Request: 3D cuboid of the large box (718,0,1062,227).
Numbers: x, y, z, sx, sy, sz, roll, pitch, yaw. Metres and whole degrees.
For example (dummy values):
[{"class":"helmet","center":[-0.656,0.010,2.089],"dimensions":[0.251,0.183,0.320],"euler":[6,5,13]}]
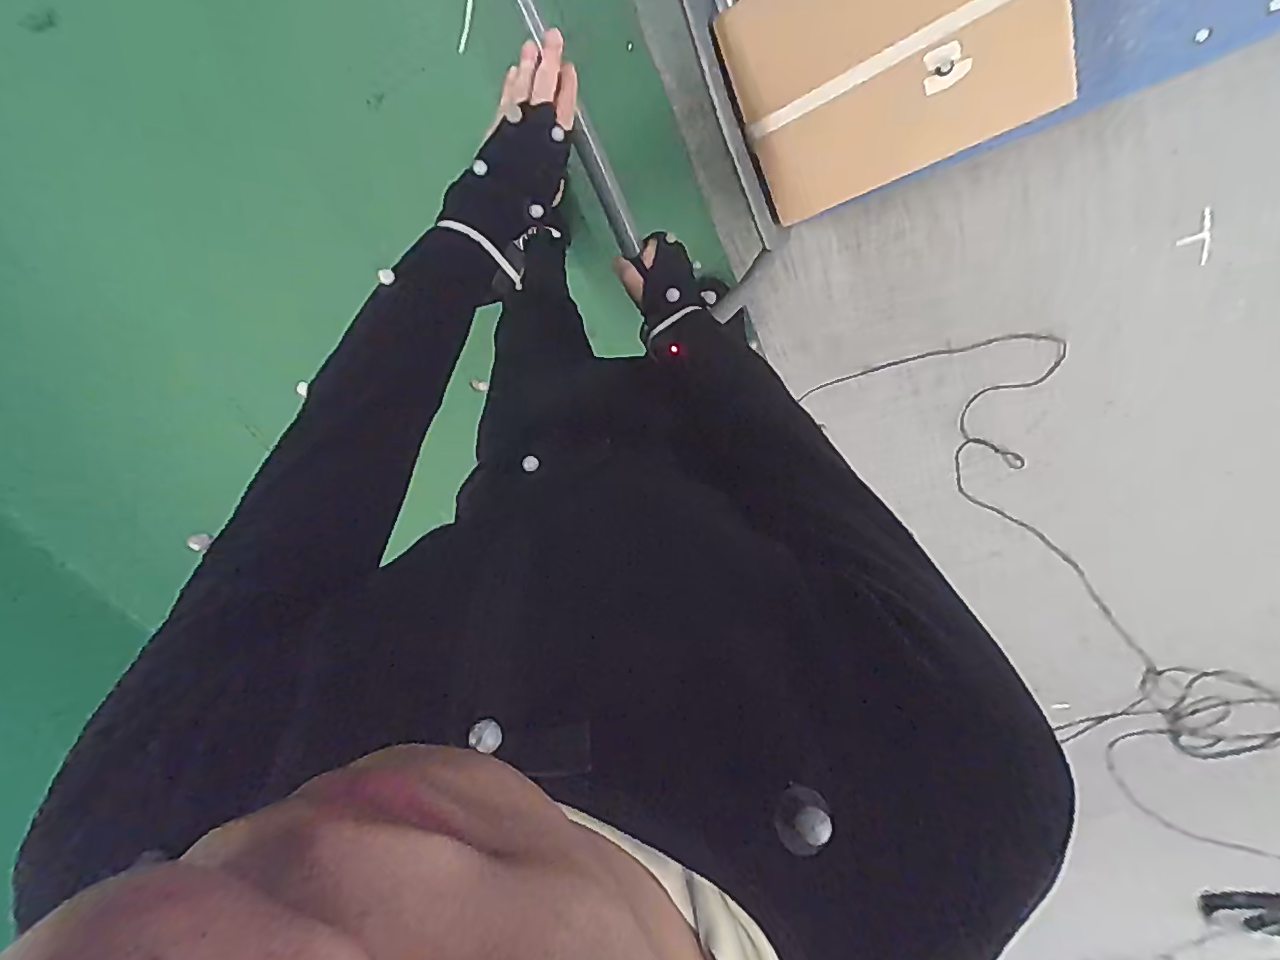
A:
[{"class":"large box","center":[0.393,-0.681,0.884],"dimensions":[0.408,0.320,0.320],"euler":[-11,122,31]}]
